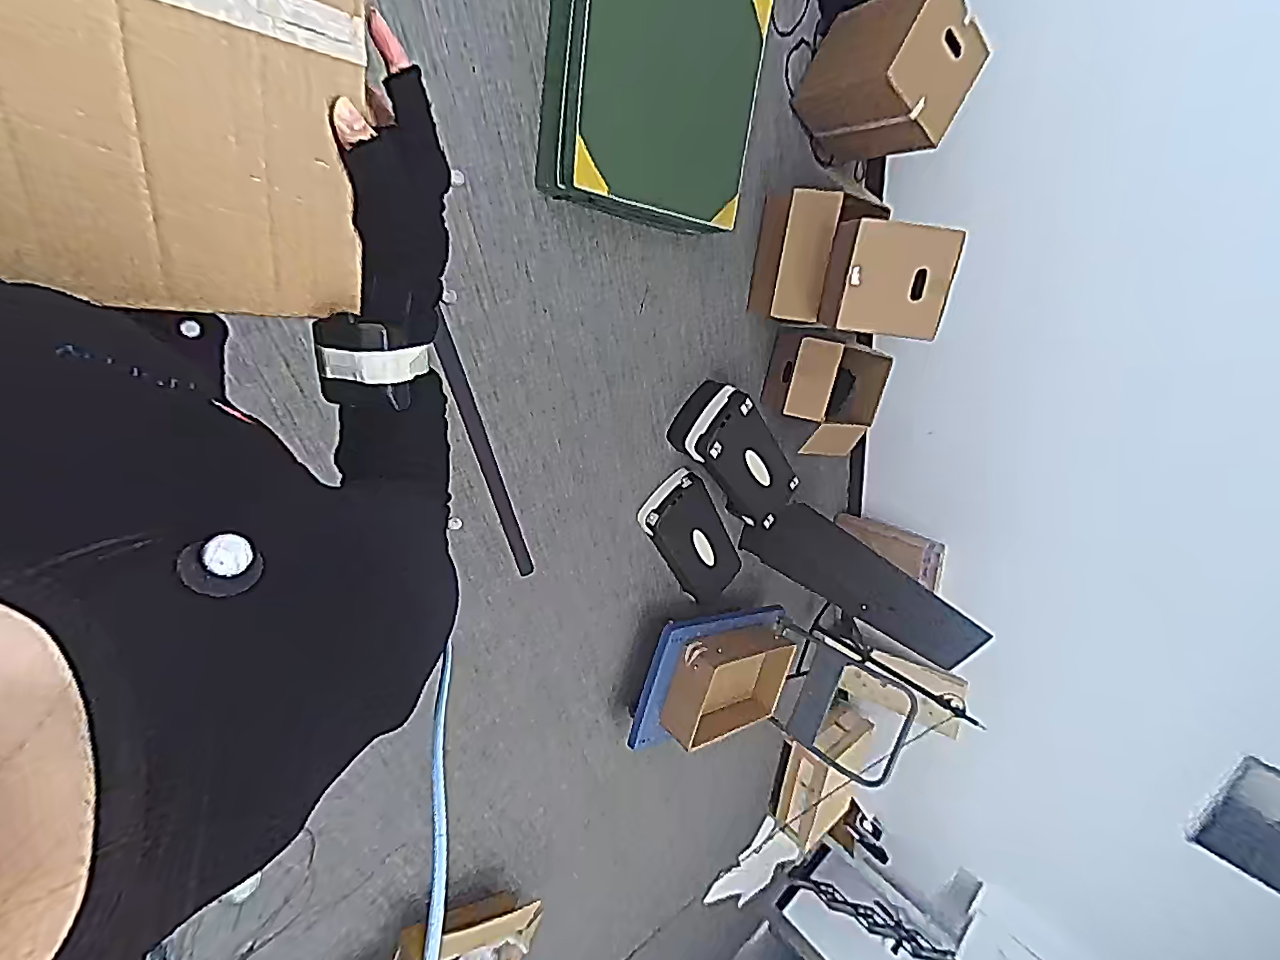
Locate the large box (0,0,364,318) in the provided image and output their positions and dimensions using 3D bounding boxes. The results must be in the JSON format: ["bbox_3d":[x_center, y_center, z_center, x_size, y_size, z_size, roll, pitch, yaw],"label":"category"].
[{"bbox_3d":[-0.399,-0.298,0.279,0.408,0.320,0.320,-9,132,-38],"label":"large box"}]
